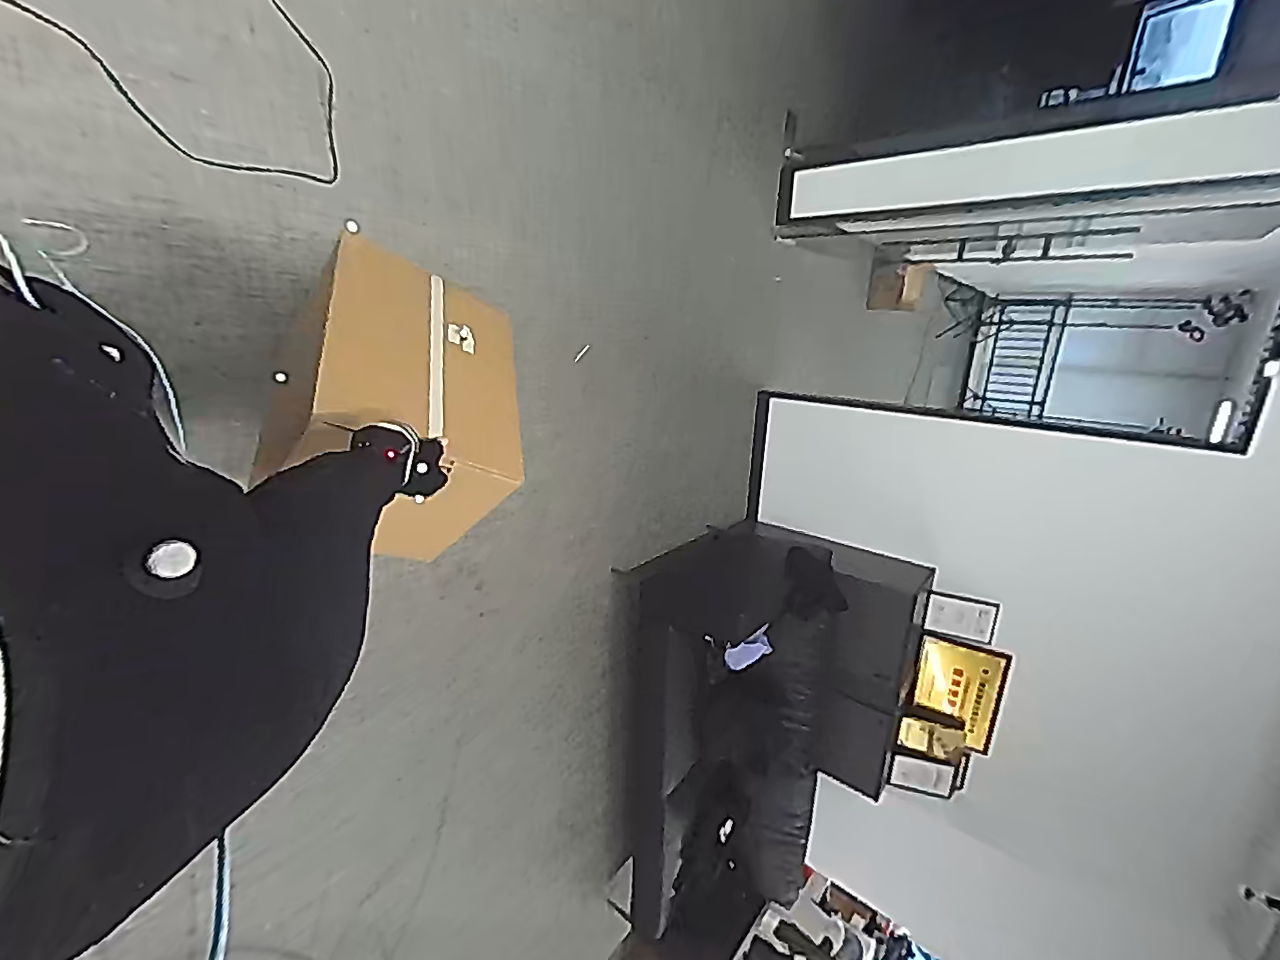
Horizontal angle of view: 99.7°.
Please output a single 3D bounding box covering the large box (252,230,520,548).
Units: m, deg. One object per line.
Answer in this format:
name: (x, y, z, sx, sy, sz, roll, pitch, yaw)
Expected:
large box: (-0.445, -0.135, 0.962, 0.320, 0.320, 0.408, 20, 45, -42)
